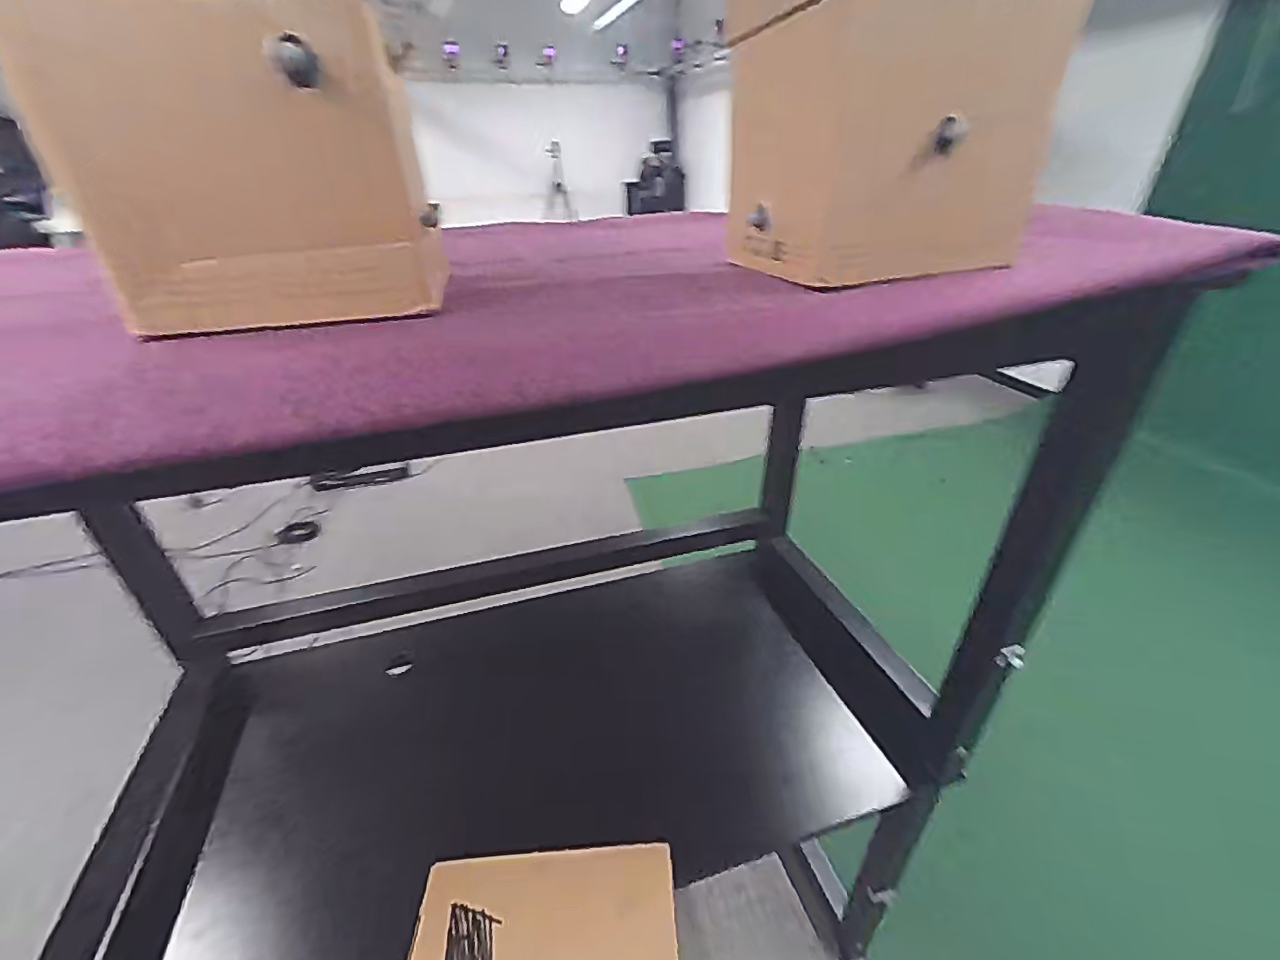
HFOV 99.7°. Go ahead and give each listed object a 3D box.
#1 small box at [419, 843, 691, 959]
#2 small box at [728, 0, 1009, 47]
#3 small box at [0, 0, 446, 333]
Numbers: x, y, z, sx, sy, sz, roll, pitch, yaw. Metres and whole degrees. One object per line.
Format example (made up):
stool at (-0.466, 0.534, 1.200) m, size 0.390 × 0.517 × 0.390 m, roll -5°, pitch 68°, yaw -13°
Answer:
small box at (-0.049, 0.382, 0.366) m, size 0.179 × 0.176 × 0.168 m, roll -4°, pitch 31°, yaw 0°
small box at (0.164, -0.401, 0.345) m, size 0.168 × 0.176 × 0.179 m, roll -11°, pitch 31°, yaw -12°
small box at (-0.241, -0.203, 0.363) m, size 0.179 × 0.176 × 0.168 m, roll -9°, pitch 31°, yaw -13°
